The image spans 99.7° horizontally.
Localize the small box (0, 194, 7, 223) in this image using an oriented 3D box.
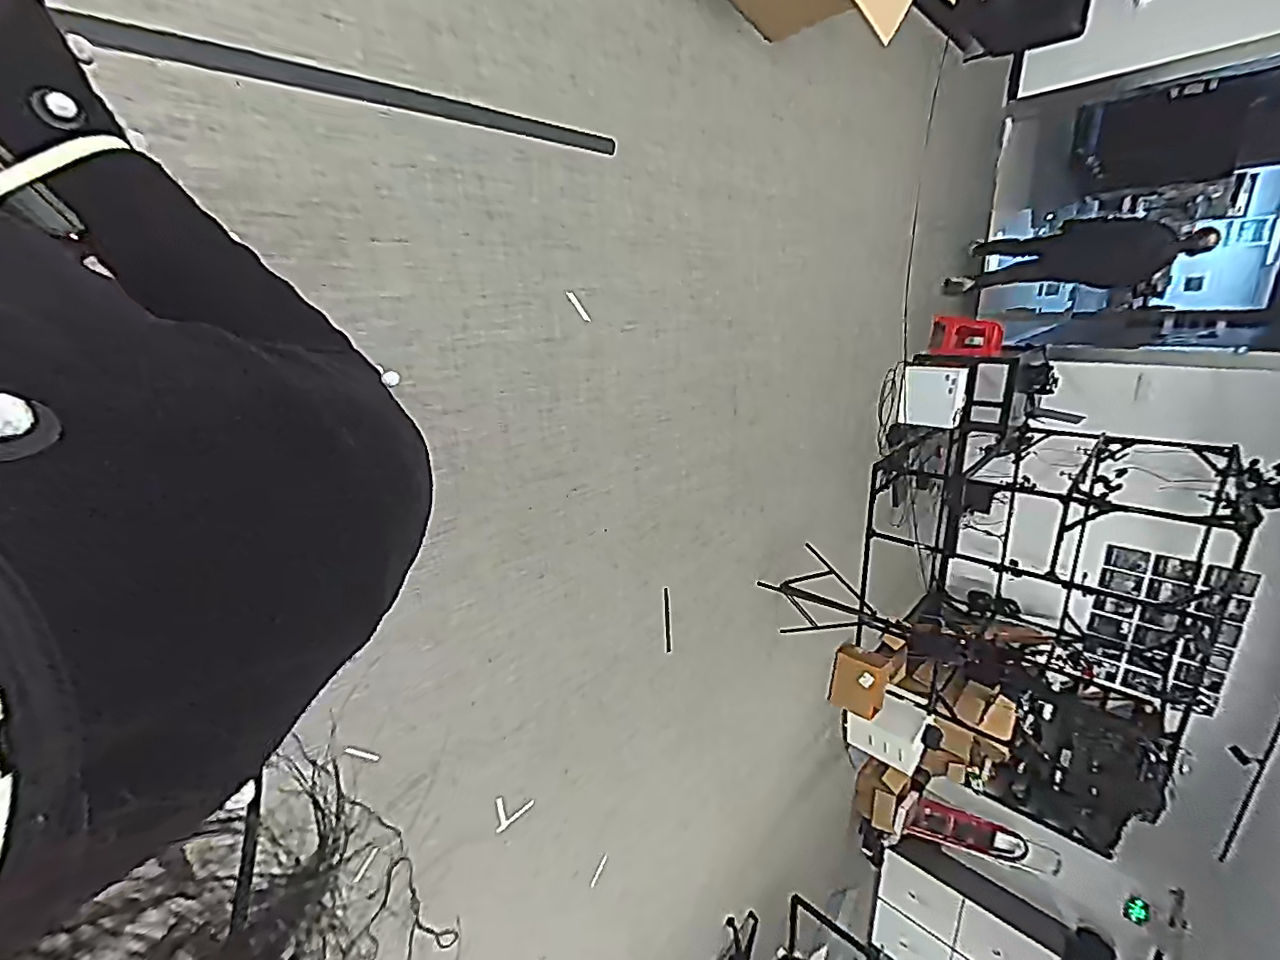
[{"bbox_3d":[-0.878,-0.400,0.616,0.168,0.176,0.179,-22,117,-42],"label":"small box"}]
